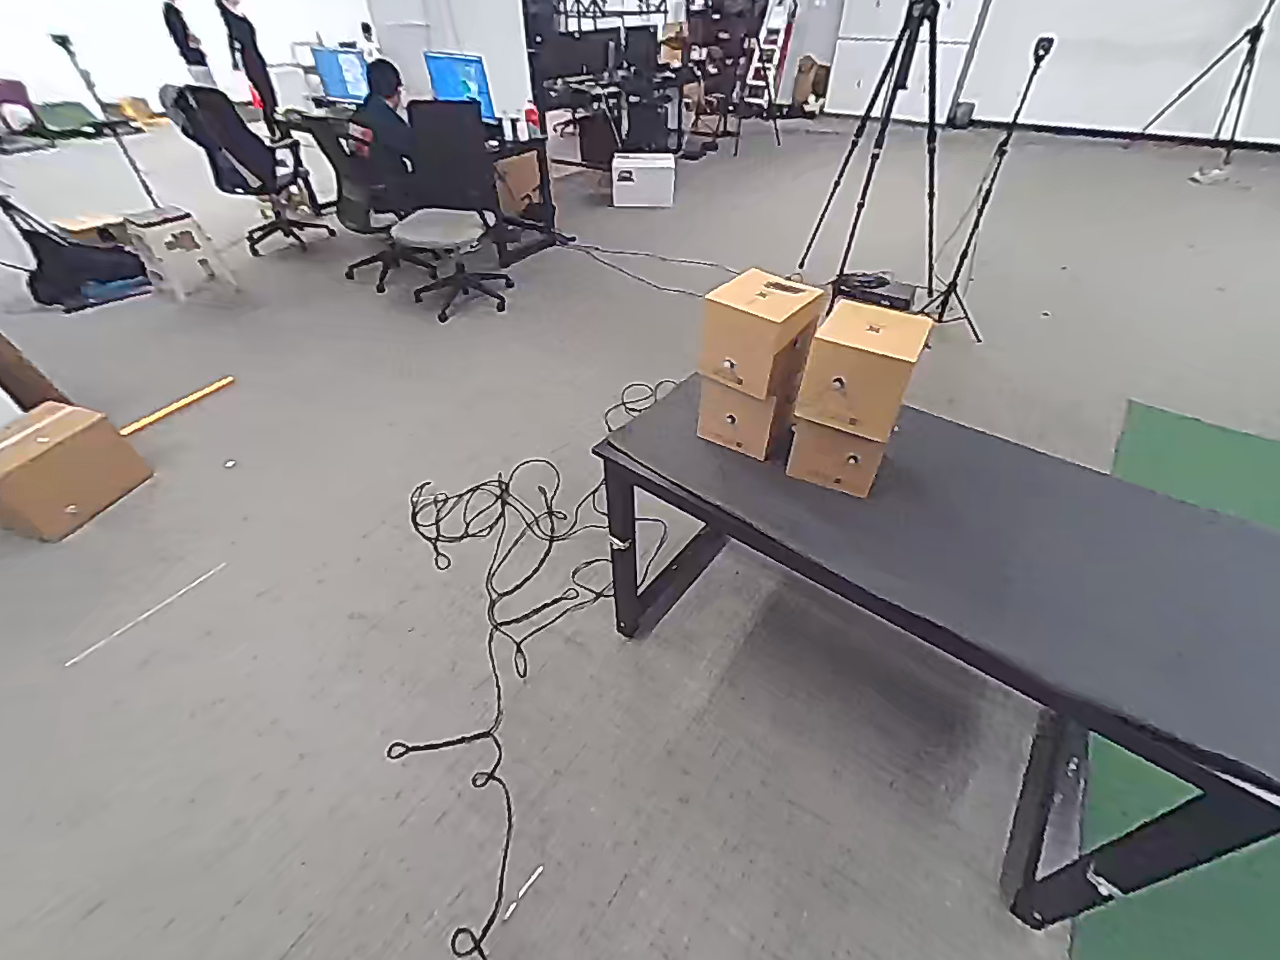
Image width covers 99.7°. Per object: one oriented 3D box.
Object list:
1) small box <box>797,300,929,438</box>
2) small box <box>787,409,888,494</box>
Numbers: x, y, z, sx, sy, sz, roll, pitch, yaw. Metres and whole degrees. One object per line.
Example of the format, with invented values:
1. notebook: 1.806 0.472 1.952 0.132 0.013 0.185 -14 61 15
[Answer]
1. small box: 0.399 -0.201 0.983 0.168 0.176 0.179 22 46 21
2. small box: 0.413 -0.099 1.110 0.168 0.176 0.179 20 46 20
